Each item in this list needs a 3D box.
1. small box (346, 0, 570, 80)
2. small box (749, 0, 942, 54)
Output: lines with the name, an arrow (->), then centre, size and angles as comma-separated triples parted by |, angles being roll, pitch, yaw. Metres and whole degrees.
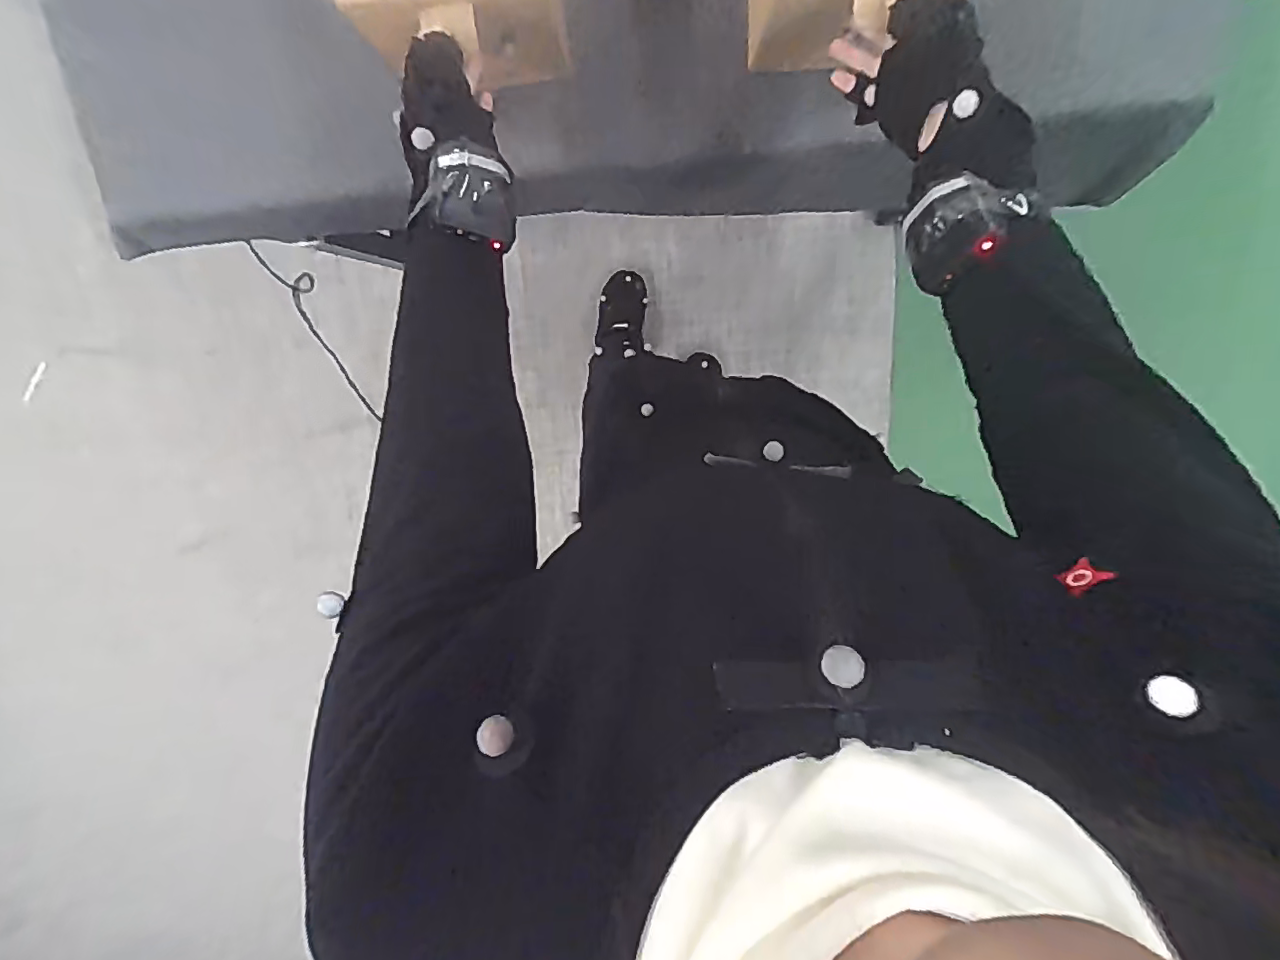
small box -> -0.162, -0.490, 0.480 | 0.168, 0.176, 0.179 | -6, 103, 2
small box -> 0.188, -0.500, 0.464 | 0.168, 0.176, 0.179 | -2, 106, 3
